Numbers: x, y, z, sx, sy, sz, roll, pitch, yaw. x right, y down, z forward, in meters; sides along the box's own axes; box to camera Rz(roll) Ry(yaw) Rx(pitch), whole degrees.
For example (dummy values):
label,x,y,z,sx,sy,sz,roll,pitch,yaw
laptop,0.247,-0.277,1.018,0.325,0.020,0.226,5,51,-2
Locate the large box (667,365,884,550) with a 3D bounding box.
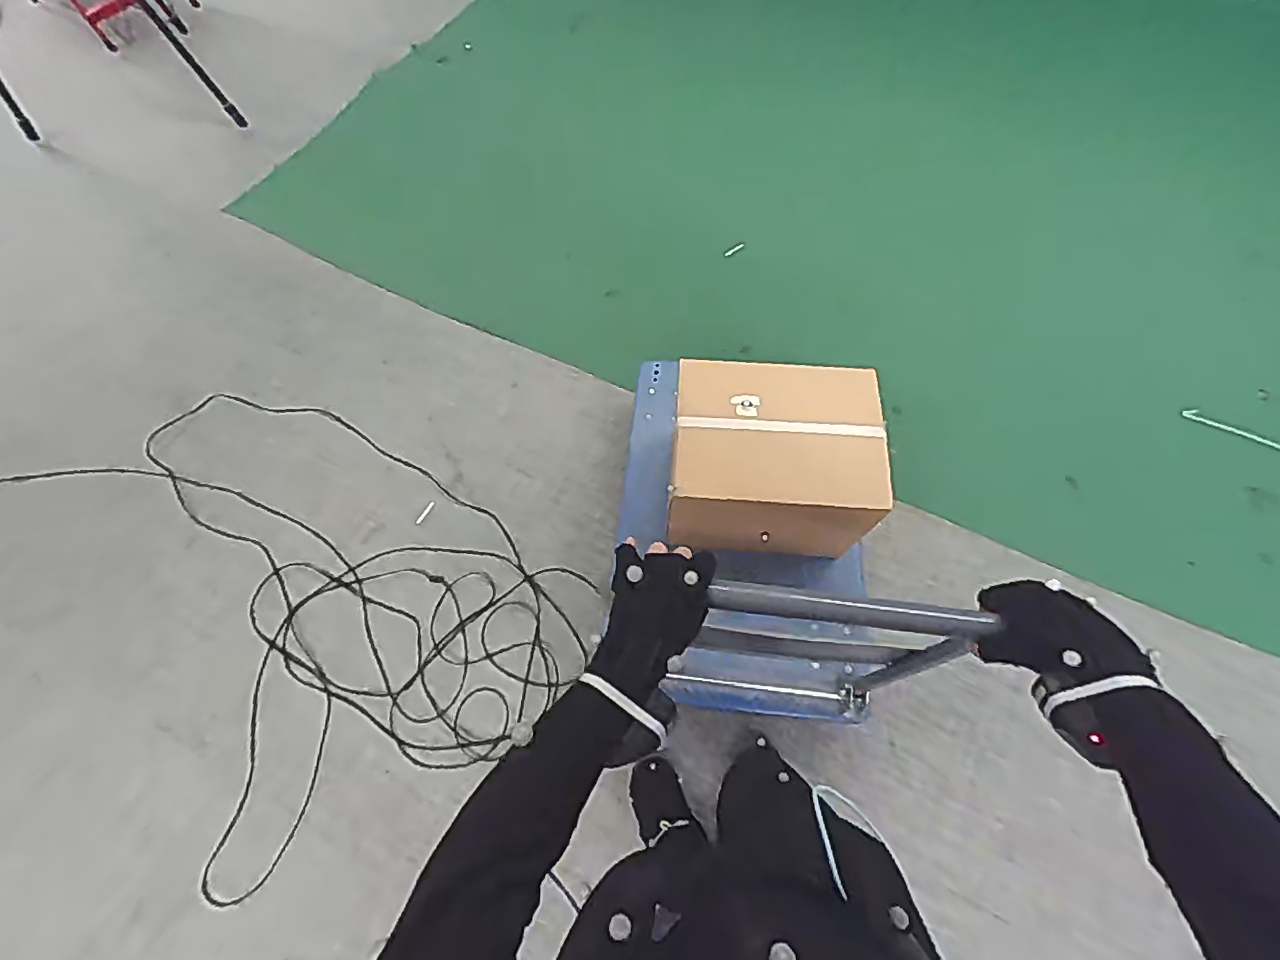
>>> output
label,x,y,z,sx,sy,sz,roll,pitch,yaw
large box,0.270,-0.037,1.208,0.408,0.320,0.320,3,65,3
